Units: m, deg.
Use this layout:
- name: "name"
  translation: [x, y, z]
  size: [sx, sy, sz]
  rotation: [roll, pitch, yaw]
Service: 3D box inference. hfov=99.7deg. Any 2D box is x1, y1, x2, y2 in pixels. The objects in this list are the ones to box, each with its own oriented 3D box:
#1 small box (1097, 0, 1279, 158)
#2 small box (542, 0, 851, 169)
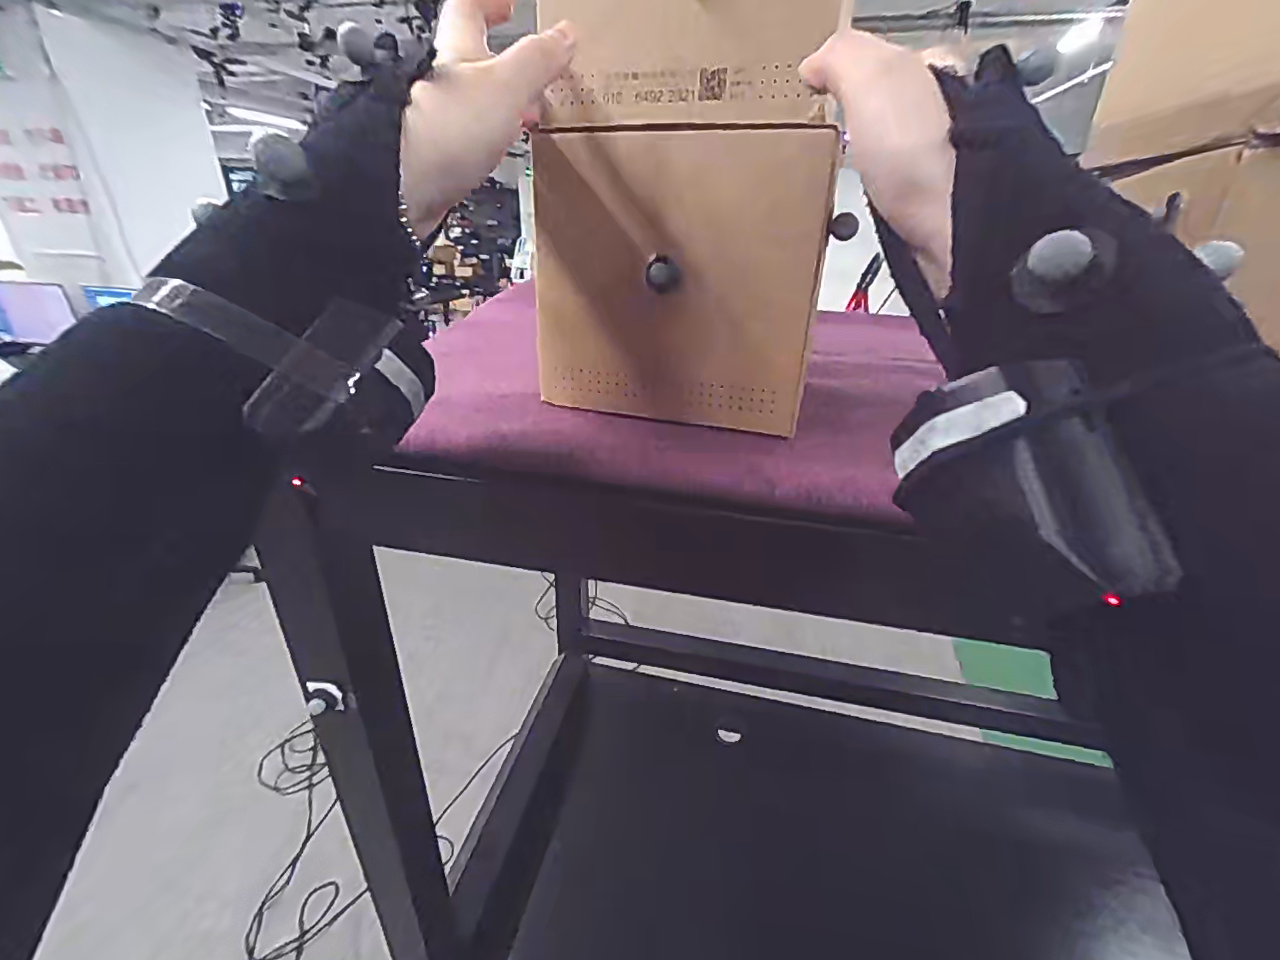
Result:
- name: "small box"
  translation: [0.373, -0.254, 0.257]
  size: [0.168, 0.176, 0.179]
  rotation: [5, 26, 12]
- name: "small box"
  translation: [0.045, -0.305, 0.341]
  size: [0.168, 0.176, 0.179]
  rotation: [9, 25, 17]
